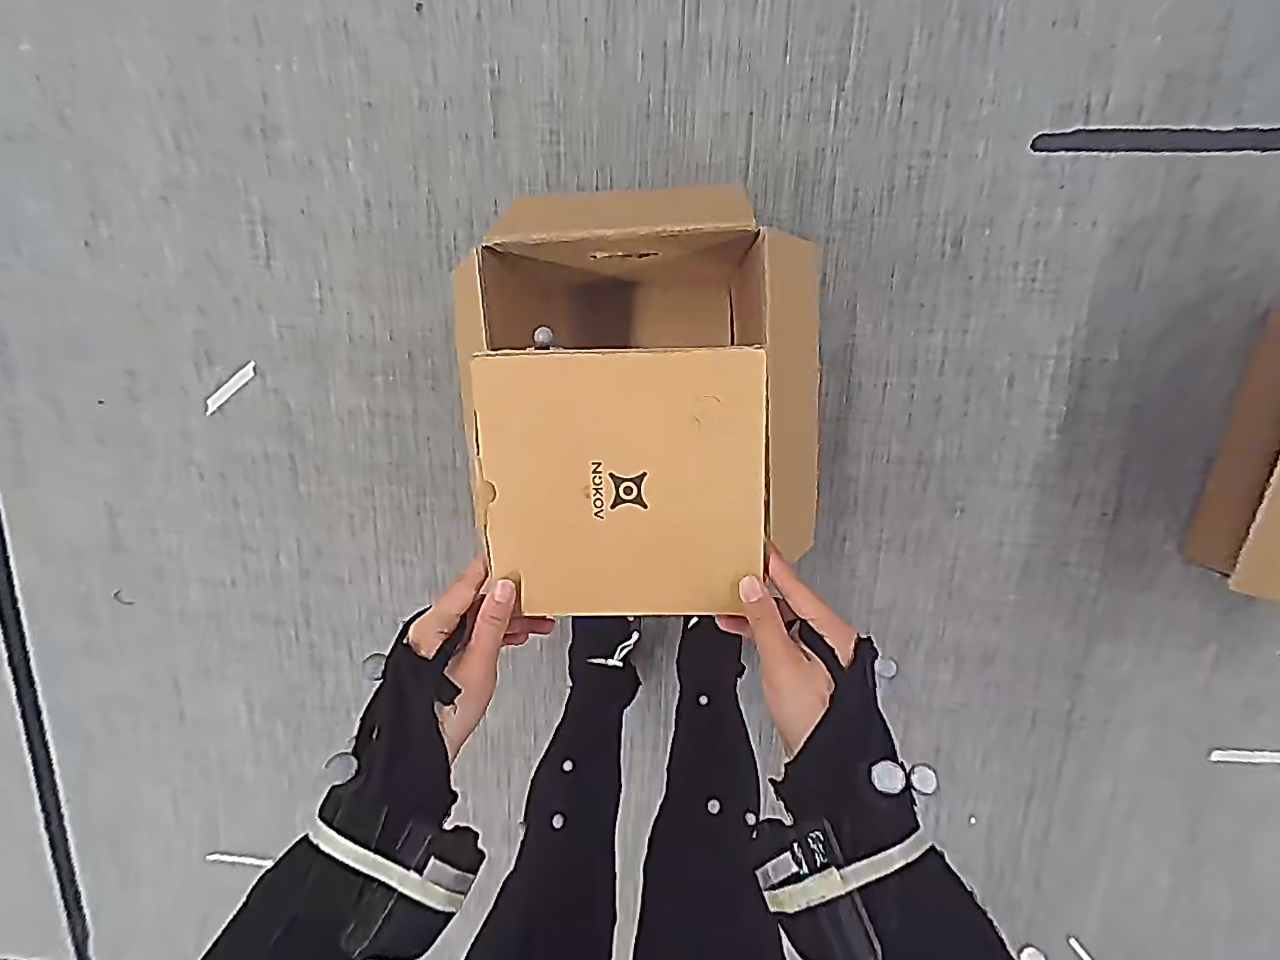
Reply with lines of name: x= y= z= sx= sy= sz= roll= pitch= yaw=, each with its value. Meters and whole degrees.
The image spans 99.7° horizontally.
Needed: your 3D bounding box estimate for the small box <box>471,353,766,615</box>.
small box: x=-0.009 y=-0.010 z=0.410 sx=0.179 sy=0.176 sz=0.168 roll=-1 pitch=102 yaw=3
